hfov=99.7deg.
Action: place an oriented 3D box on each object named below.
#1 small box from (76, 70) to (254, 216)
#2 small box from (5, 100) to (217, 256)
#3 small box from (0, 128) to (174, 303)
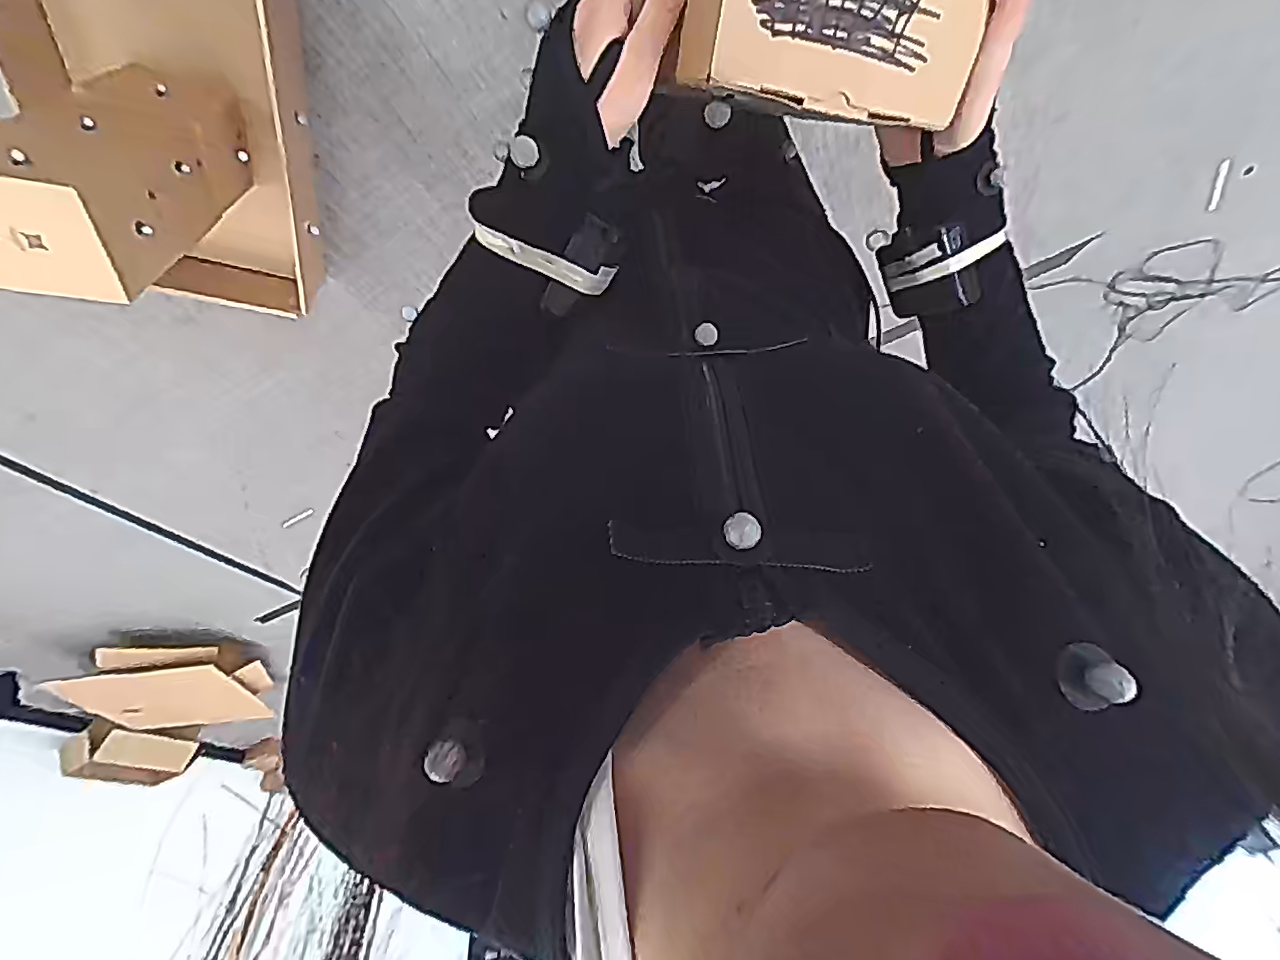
[{"bbox_3d":[-0.853,-0.622,0.995,0.179,0.176,0.168,7,136,-17],"label":"small box"},{"bbox_3d":[-0.841,-0.498,0.891,0.179,0.176,0.168,5,136,-13],"label":"small box"},{"bbox_3d":[-0.820,-0.380,0.777,0.179,0.176,0.168,4,135,-14],"label":"small box"}]
